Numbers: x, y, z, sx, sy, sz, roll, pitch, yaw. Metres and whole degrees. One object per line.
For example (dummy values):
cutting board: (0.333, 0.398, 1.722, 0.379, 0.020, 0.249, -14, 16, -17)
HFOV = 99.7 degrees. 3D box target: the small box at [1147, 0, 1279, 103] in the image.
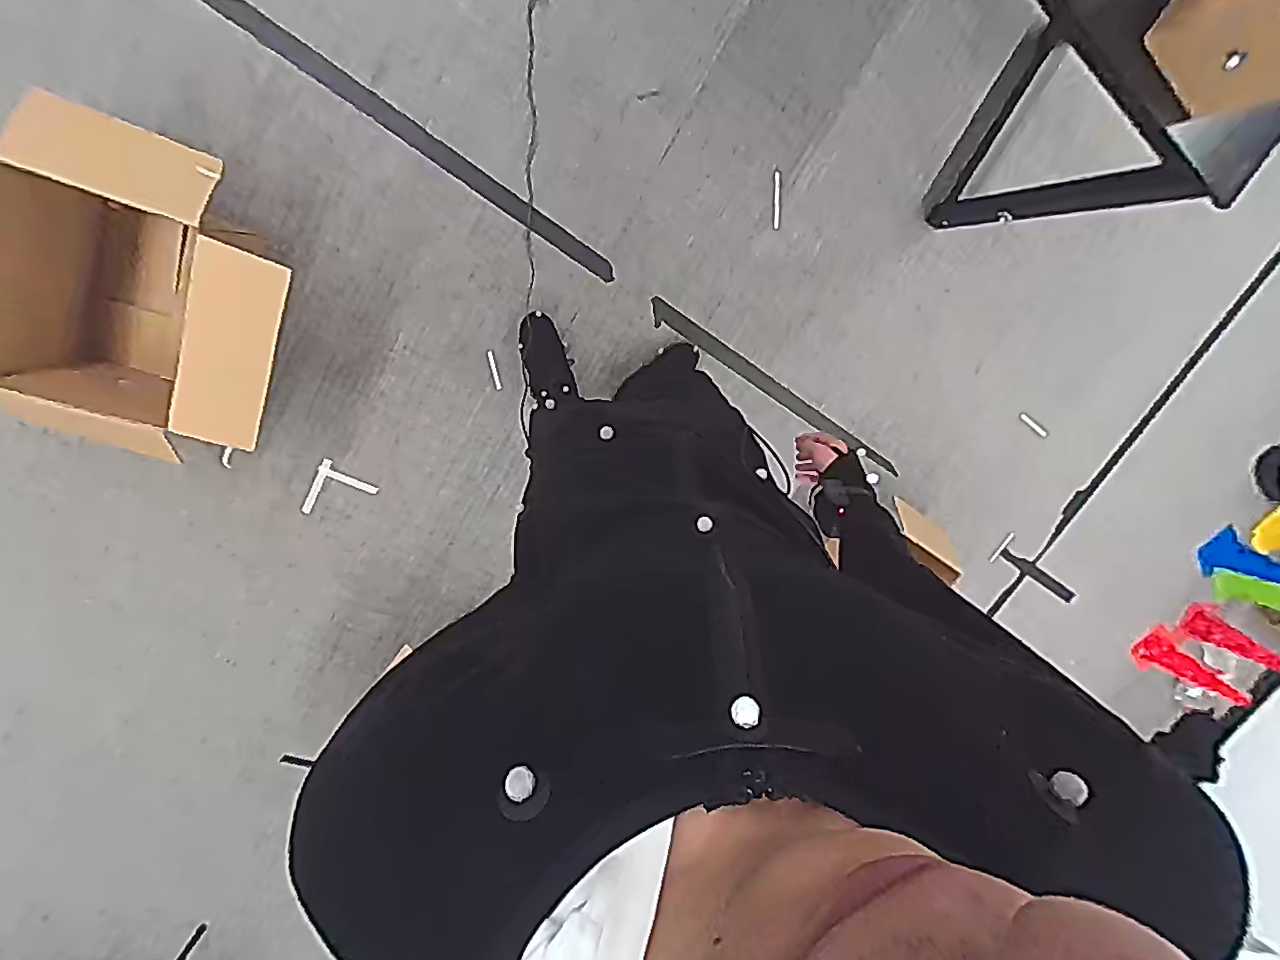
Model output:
small box: (0.876, -0.664, 0.745, 0.179, 0.176, 0.168, 30, 100, -20)
